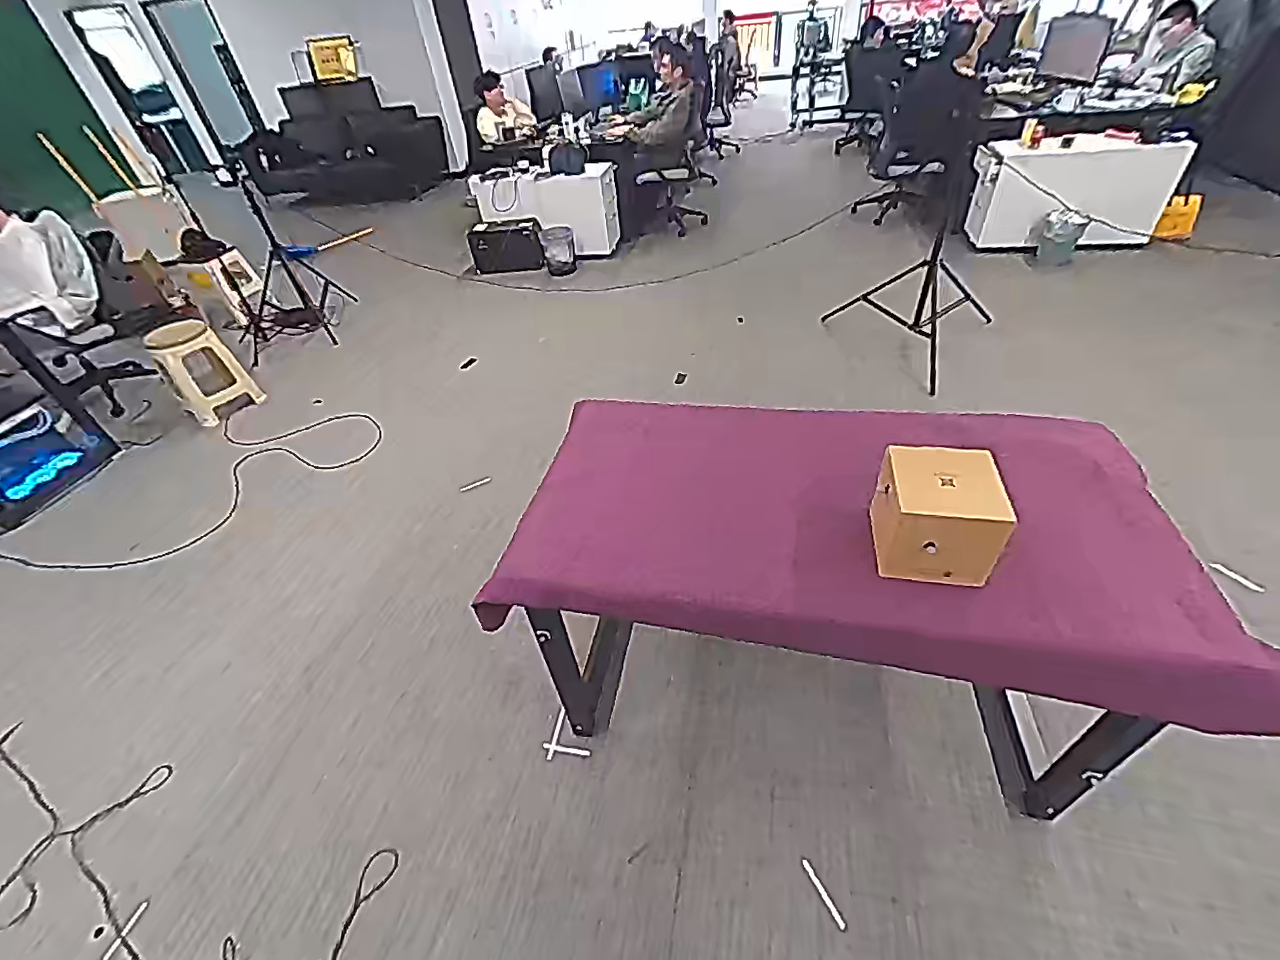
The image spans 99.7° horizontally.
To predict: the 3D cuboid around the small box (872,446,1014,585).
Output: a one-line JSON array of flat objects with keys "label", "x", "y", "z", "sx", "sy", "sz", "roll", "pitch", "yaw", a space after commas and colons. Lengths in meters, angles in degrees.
[{"label": "small box", "x": 0.512, "y": 0.062, "z": 0.944, "sx": 0.168, "sy": 0.176, "sz": 0.179, "roll": 4, "pitch": 42, "yaw": 13}]
